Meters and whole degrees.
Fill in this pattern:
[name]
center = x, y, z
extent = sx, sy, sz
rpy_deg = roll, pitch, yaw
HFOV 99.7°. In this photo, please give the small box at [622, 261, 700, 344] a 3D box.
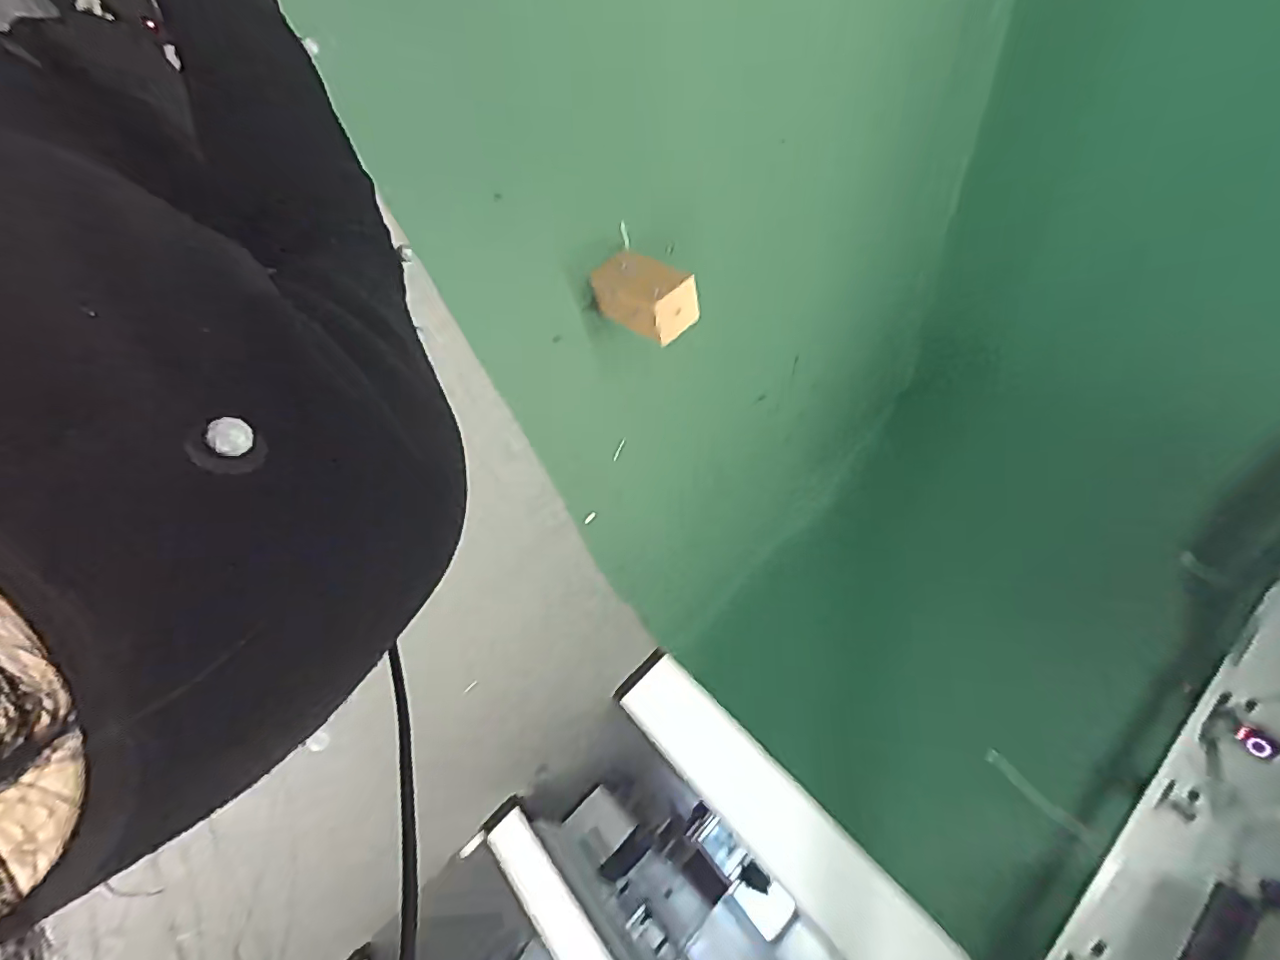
[small box]
center = 0.070, -0.587, 1.768
extent = 0.179, 0.176, 0.168
rpy_deg = -41, 146, -15
